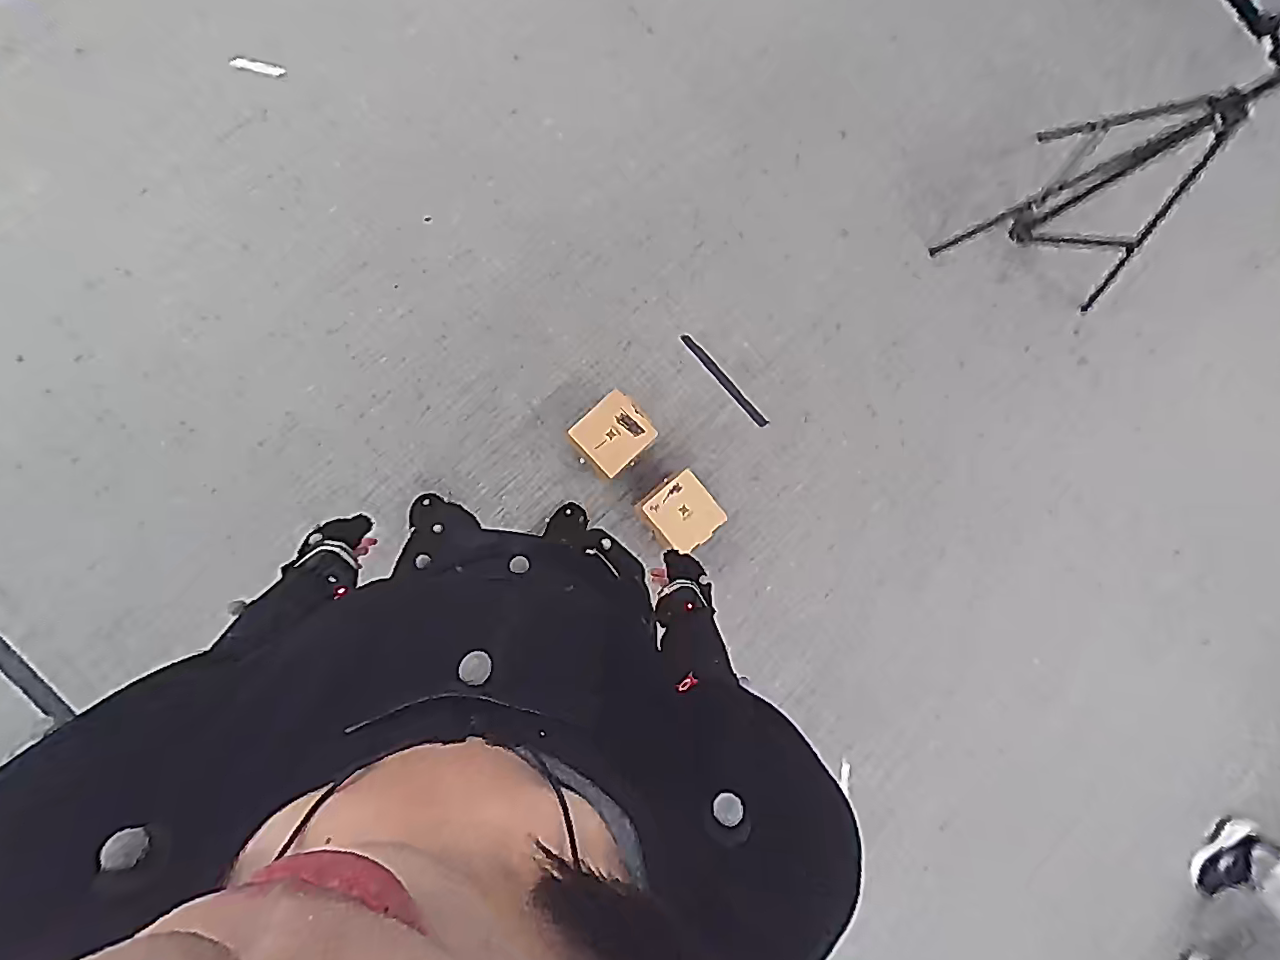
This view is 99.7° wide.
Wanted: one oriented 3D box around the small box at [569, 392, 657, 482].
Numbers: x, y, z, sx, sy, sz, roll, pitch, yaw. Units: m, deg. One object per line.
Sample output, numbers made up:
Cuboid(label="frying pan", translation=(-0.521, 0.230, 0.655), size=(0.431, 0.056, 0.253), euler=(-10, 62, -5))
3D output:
Cuboid(label="small box", translation=(-0.081, -0.110, 1.465), size=(0.179, 0.176, 0.168), euler=(-43, 93, -8))

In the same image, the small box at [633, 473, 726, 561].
Cuboid(label="small box", translation=(0.101, 0.097, 1.483), size=(0.168, 0.176, 0.179), euler=(-39, 94, -9))
